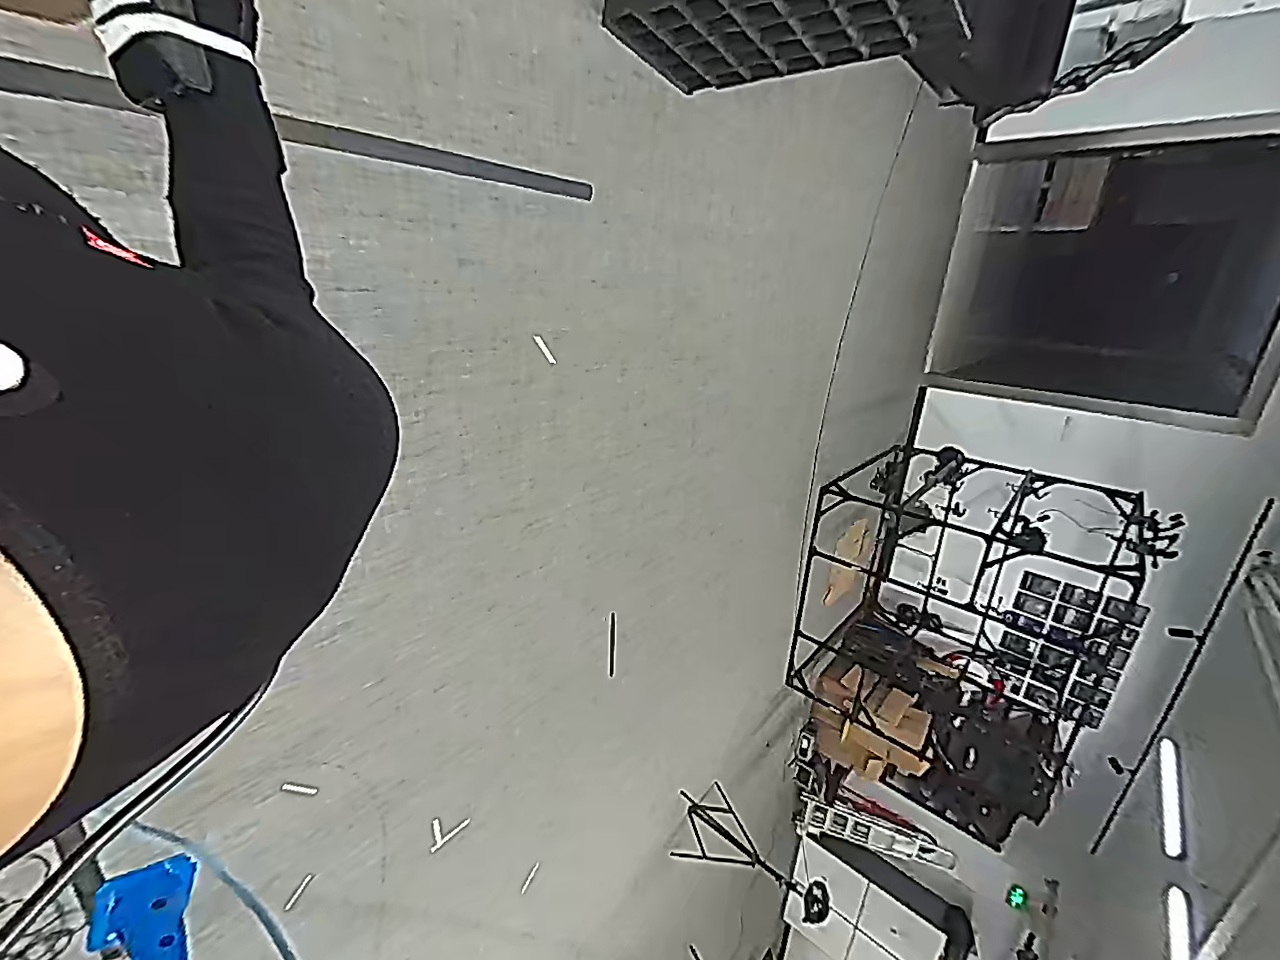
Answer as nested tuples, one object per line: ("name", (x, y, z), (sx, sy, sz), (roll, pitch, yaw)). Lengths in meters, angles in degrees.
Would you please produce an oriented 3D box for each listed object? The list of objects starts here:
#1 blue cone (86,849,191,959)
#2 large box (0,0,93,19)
("blue cone", (-1.159, 1.110, 1.291), (0.193, 0.380, 0.192), (12, 96, -53))
("large box", (-0.558, -0.476, 0.241), (0.408, 0.320, 0.320), (-23, 129, -46))
